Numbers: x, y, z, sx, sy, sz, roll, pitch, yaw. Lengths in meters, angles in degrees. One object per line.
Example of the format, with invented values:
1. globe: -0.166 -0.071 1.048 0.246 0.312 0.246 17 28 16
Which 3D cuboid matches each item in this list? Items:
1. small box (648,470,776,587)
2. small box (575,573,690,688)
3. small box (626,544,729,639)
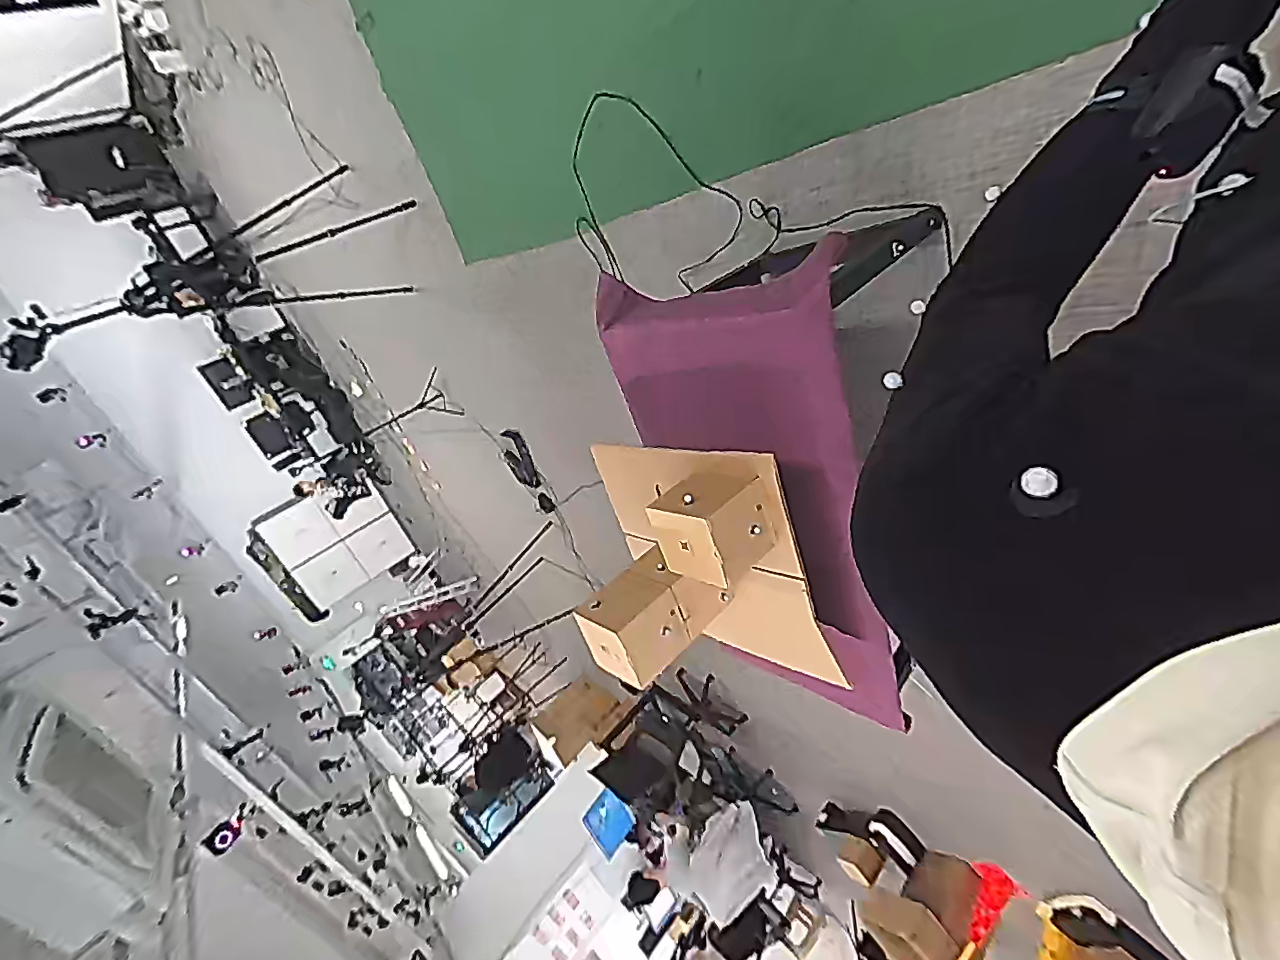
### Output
1. small box: 0.152 0.091 1.122 0.179 0.176 0.168 7 125 49
2. small box: -0.014 0.338 1.256 0.179 0.176 0.168 7 125 49
3. small box: 0.102 0.258 1.341 0.179 0.176 0.168 8 125 50
